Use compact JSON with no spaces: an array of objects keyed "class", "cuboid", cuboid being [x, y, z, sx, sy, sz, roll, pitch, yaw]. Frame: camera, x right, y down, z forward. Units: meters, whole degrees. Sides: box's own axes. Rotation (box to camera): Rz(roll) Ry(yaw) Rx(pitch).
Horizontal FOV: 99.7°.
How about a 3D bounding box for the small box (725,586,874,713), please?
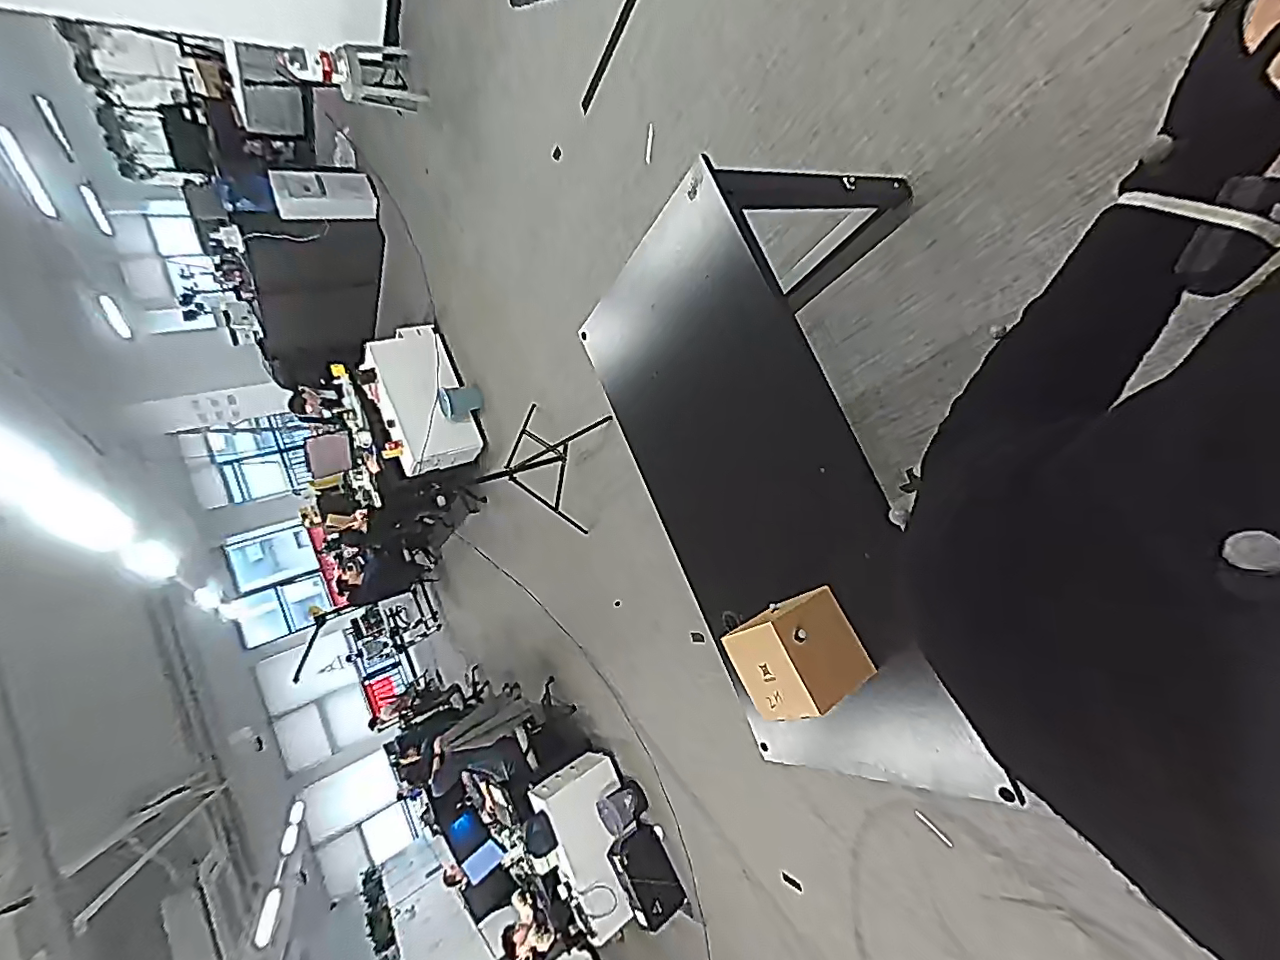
[{"class":"small box","cuboid":[0.303,0.319,1.036,0.179,0.176,0.168,62,147,12]}]
